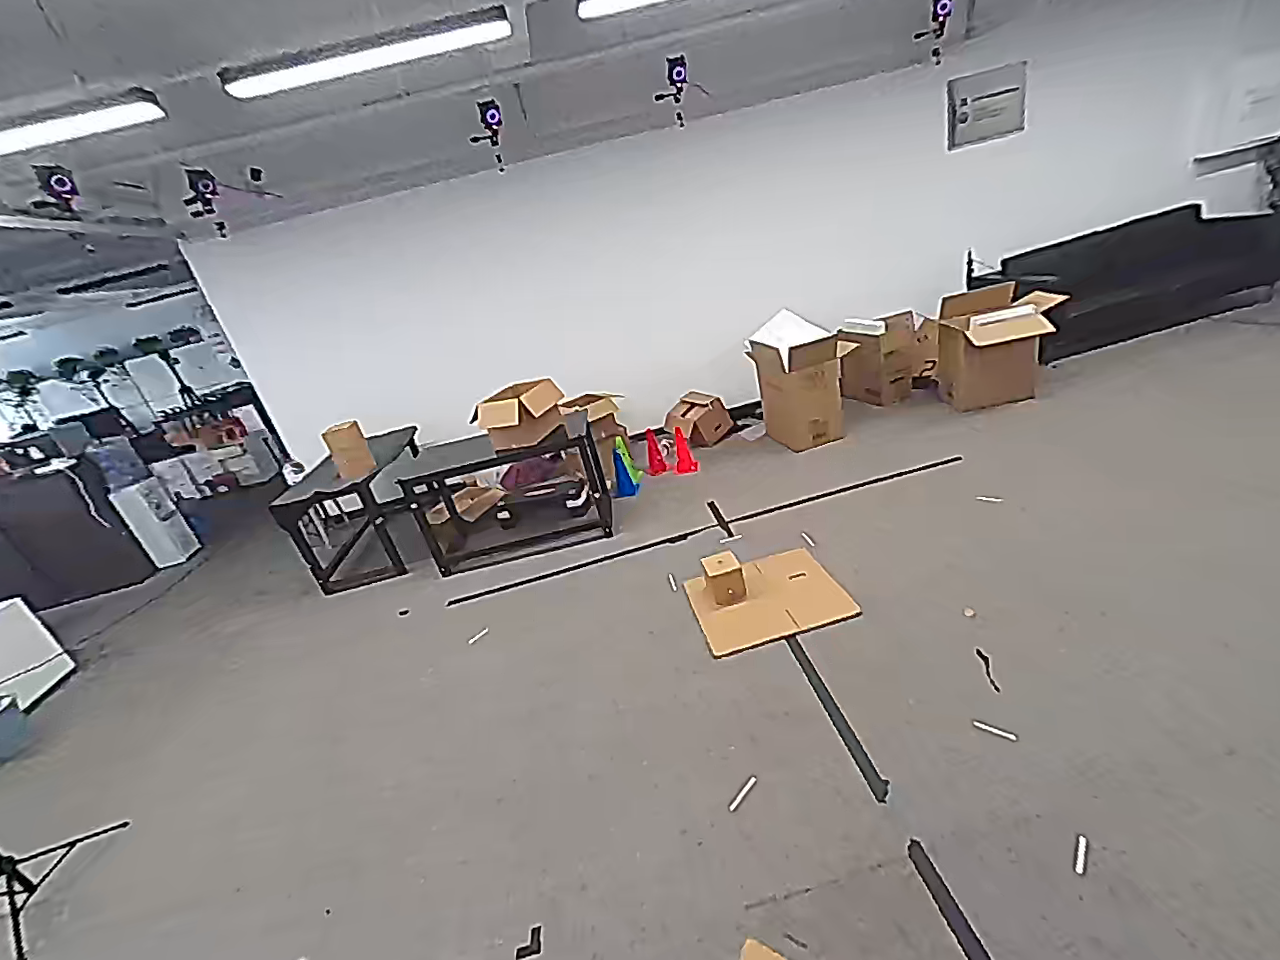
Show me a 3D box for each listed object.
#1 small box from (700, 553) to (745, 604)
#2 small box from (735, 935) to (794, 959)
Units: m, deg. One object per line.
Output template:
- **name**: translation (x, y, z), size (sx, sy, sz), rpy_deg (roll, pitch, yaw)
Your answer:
- **small box**: translation (0.415, 0.498, 2.727), size (0.168, 0.176, 0.179), rpy_deg (-17, 23, -4)
- **small box**: translation (0.140, 0.568, 0.476), size (0.179, 0.176, 0.168), rpy_deg (18, 38, 21)
